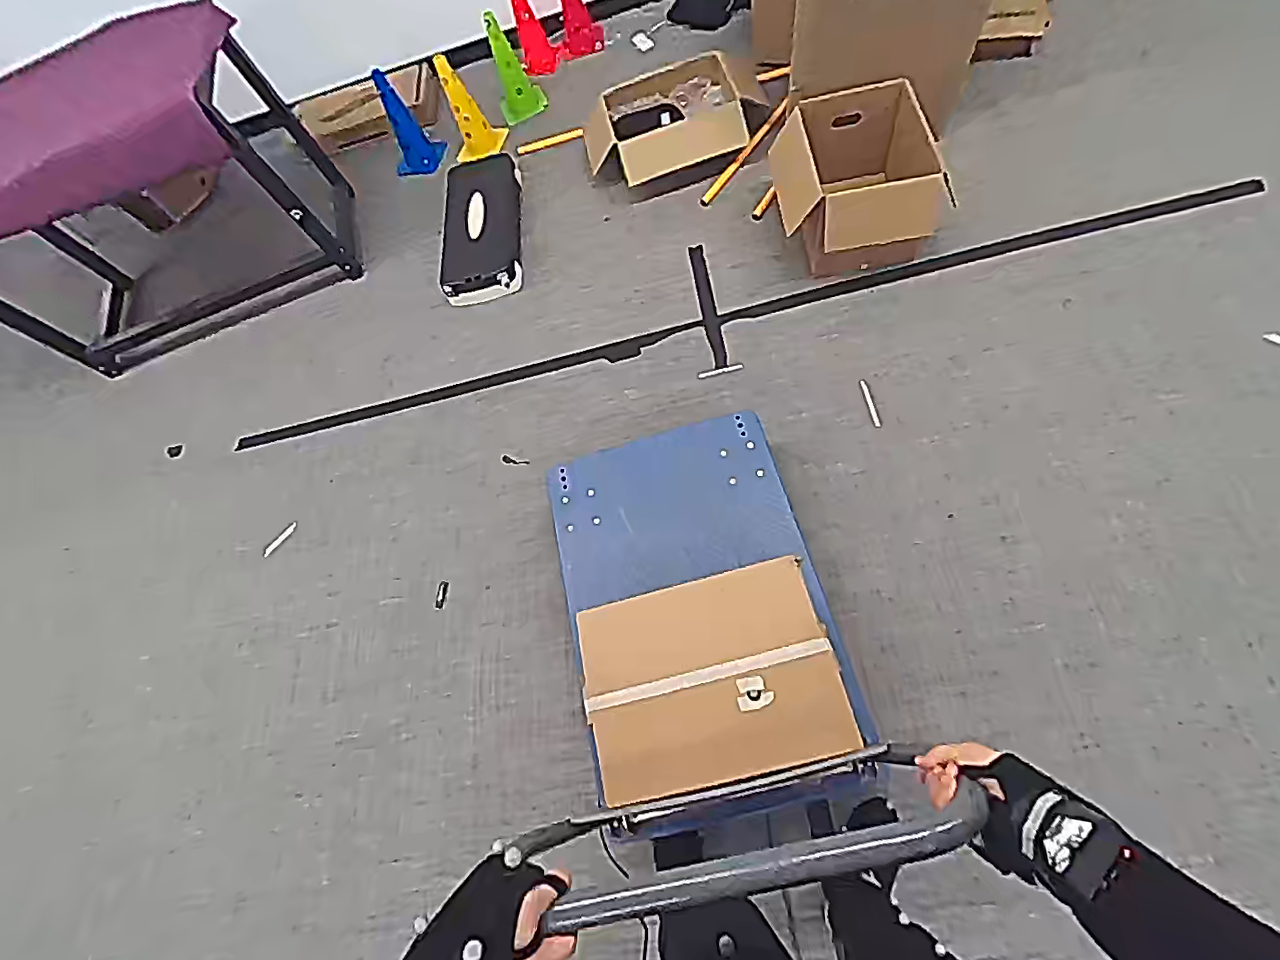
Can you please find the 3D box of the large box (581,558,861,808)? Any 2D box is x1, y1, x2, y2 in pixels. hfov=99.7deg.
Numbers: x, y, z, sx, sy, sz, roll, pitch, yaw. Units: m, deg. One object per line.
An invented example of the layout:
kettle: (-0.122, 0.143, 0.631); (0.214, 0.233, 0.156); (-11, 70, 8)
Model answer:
large box: (0.141, 0.386, 1.027); (0.408, 0.320, 0.320); (-16, 64, 4)
